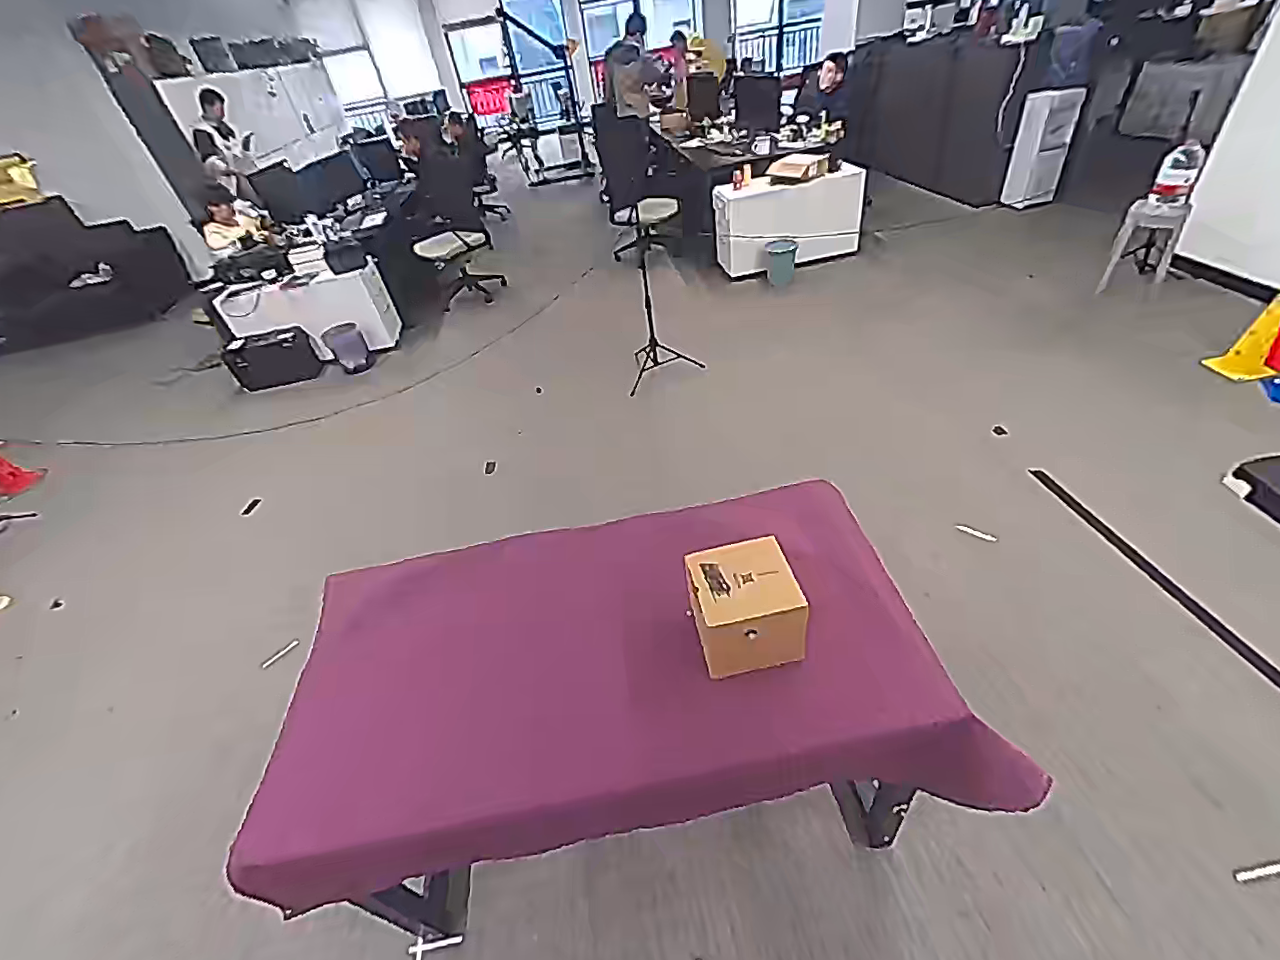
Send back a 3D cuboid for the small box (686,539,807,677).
[{"bbox_3d":[0.193,0.238,0.995,0.179,0.176,0.168,-12,40,-2],"label":"small box"}]
